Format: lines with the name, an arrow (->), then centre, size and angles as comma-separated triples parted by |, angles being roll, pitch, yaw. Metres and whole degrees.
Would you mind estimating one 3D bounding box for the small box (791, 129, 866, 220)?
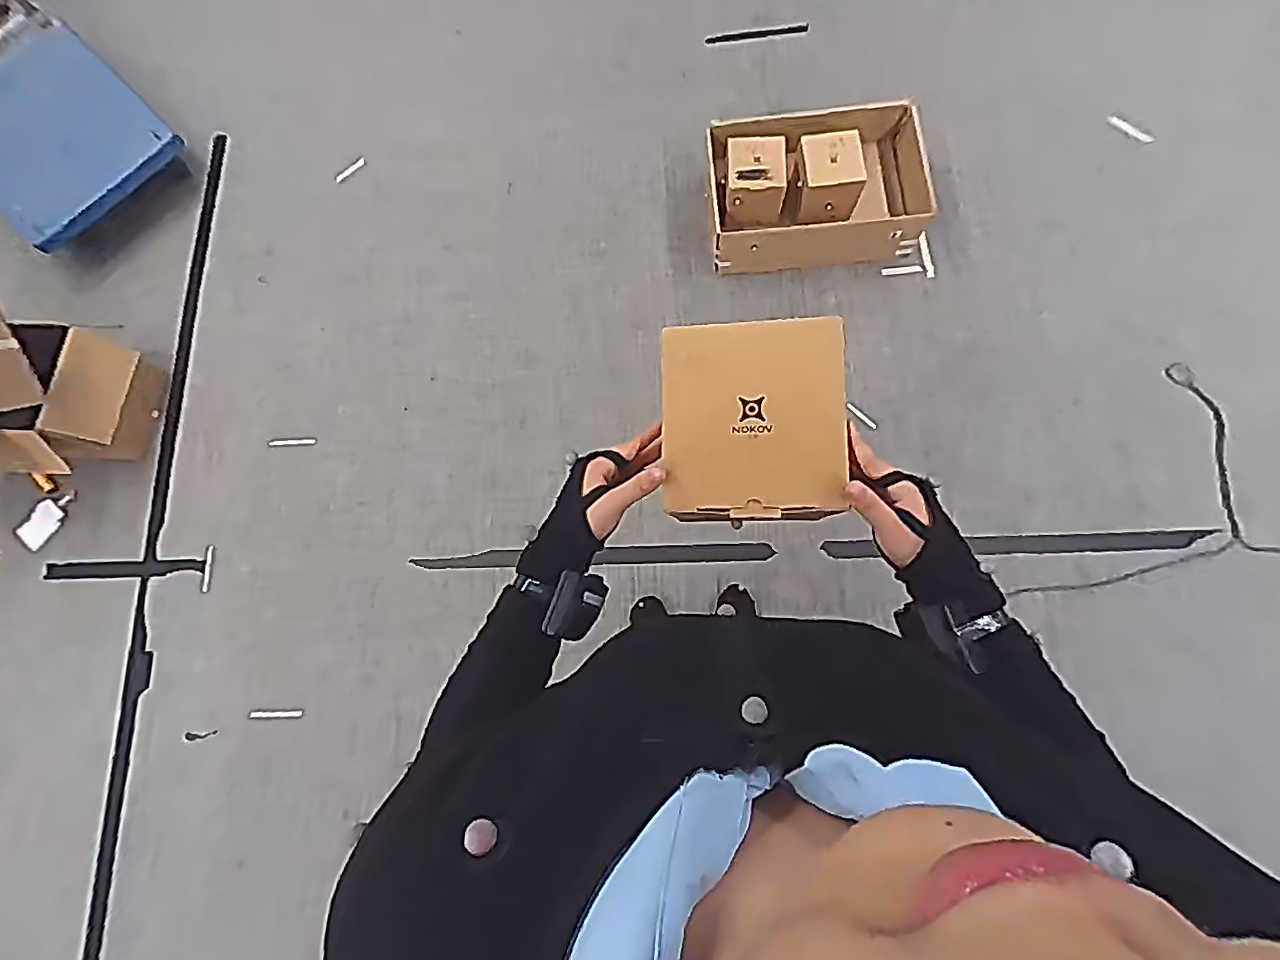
small box -> 0.560, -0.906, 1.623 | 0.168, 0.176, 0.179 | -5, 77, 3
